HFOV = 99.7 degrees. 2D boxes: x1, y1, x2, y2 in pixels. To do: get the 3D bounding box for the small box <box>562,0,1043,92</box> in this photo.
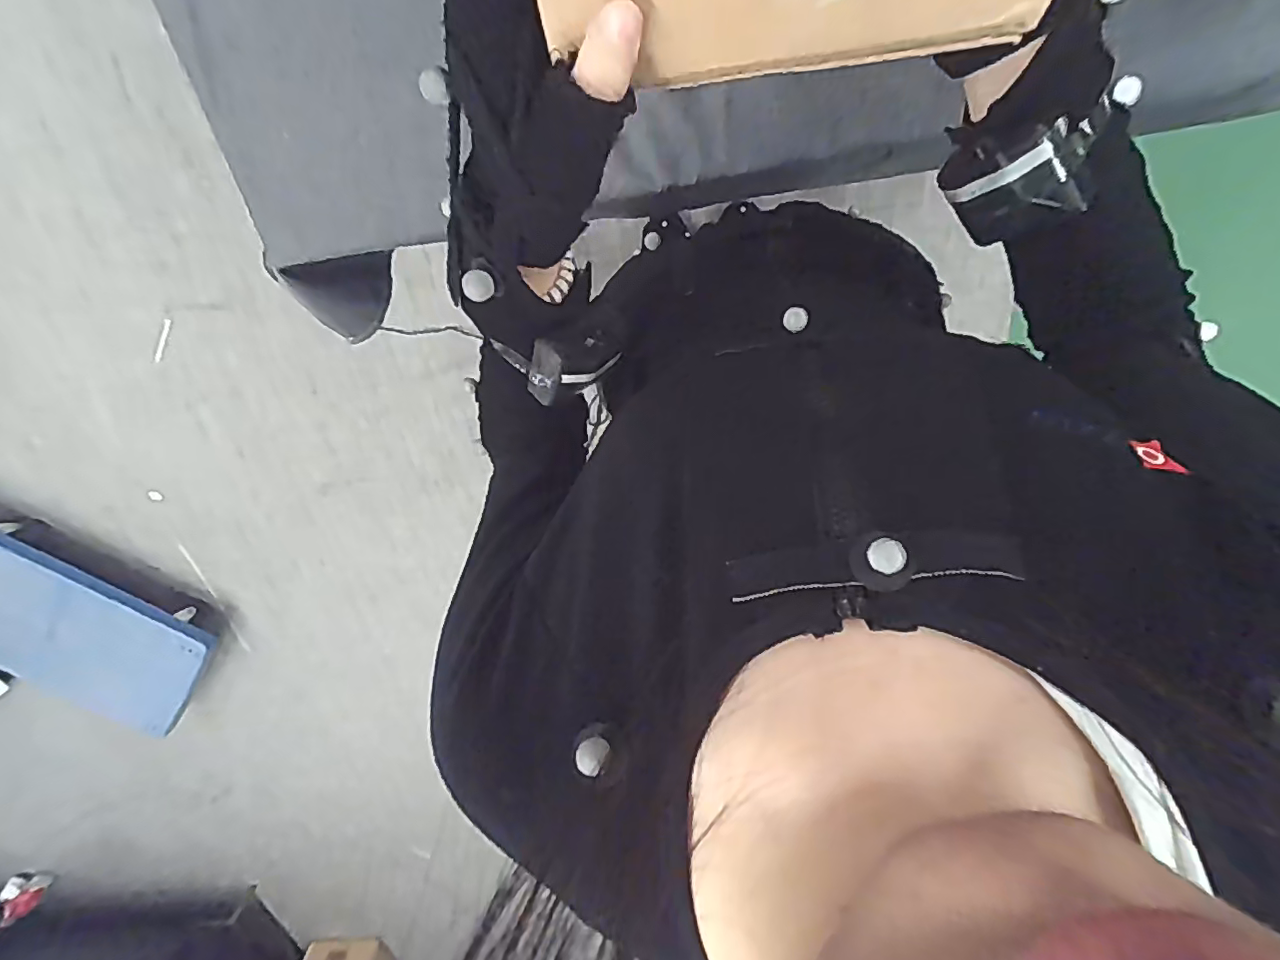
[{"bbox_3d":[0.047,-0.260,0.153,0.179,0.168,0.176,-4,160,4],"label":"small box"}]
